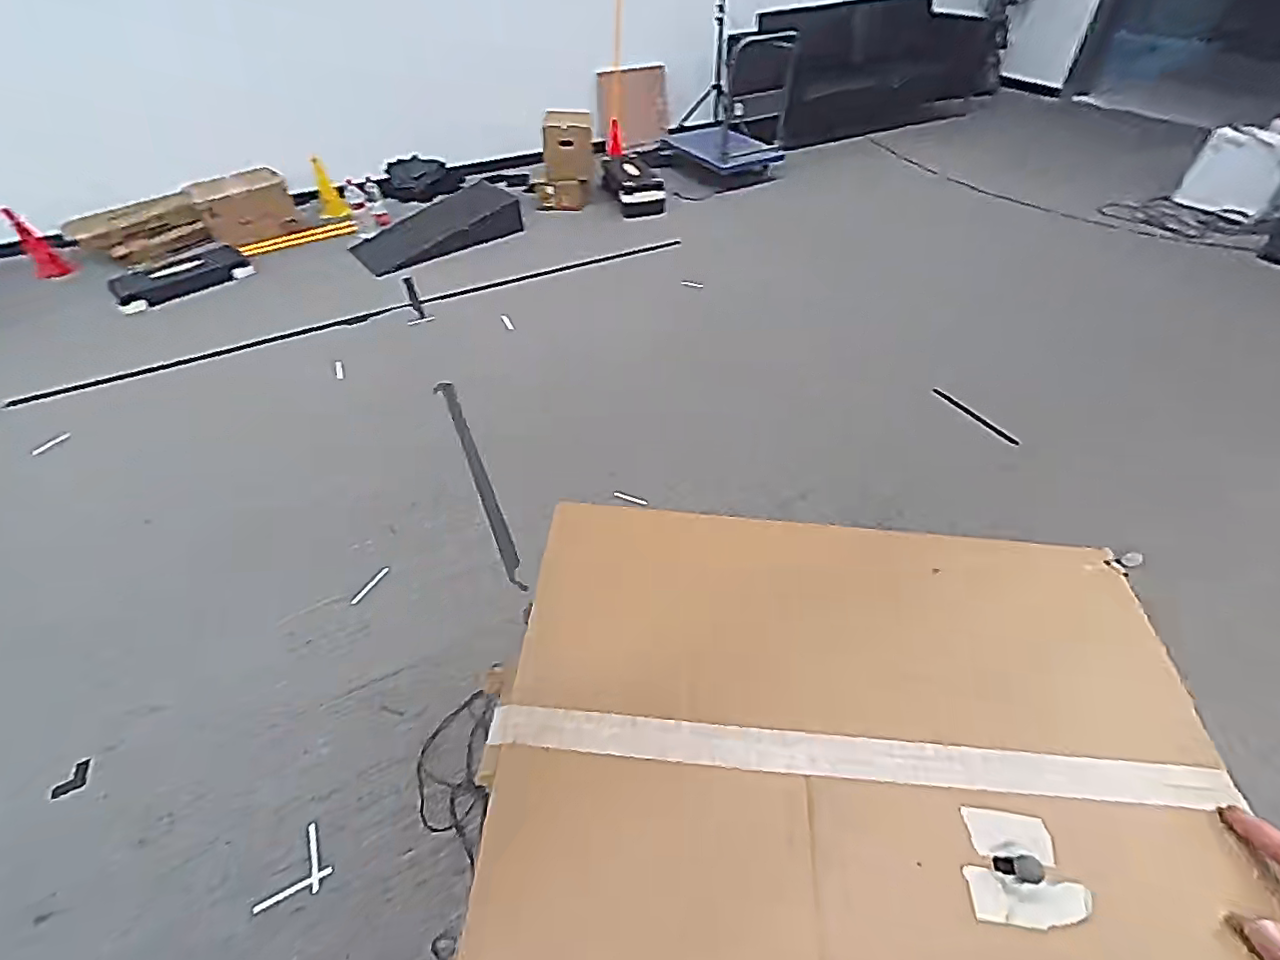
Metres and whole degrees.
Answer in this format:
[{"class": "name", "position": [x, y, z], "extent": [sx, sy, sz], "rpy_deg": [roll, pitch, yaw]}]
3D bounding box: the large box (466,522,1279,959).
[{"class": "large box", "position": [0.112, 0.255, 0.430], "extent": [0.408, 0.320, 0.320], "rpy_deg": [4, 53, 0]}]
